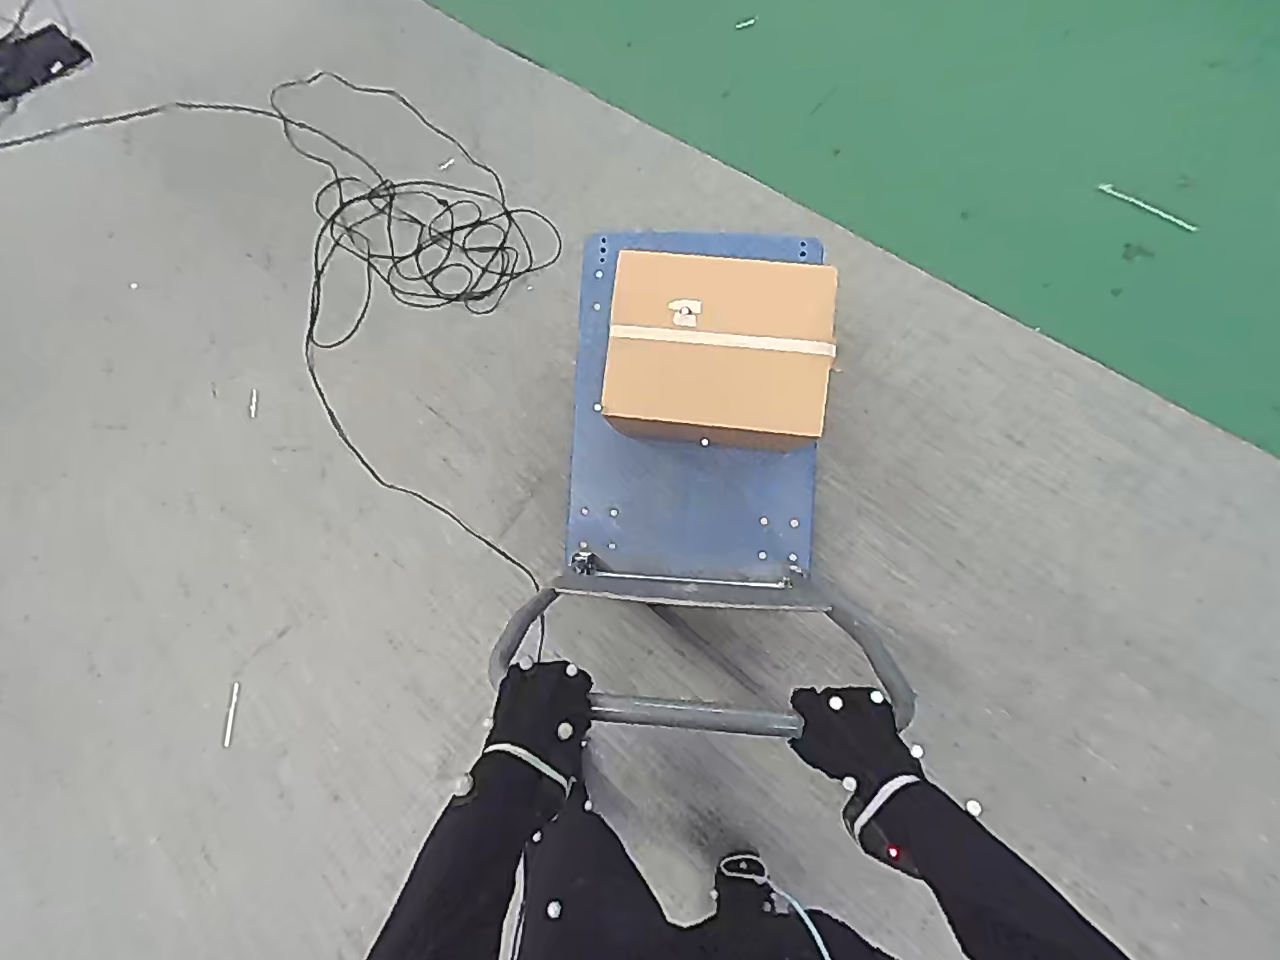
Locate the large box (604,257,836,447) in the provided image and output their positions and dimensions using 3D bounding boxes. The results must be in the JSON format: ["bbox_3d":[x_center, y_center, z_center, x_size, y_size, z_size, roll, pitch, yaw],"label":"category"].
[{"bbox_3d":[0.159,-0.244,1.131,0.408,0.320,0.320,6,88,6],"label":"large box"}]
